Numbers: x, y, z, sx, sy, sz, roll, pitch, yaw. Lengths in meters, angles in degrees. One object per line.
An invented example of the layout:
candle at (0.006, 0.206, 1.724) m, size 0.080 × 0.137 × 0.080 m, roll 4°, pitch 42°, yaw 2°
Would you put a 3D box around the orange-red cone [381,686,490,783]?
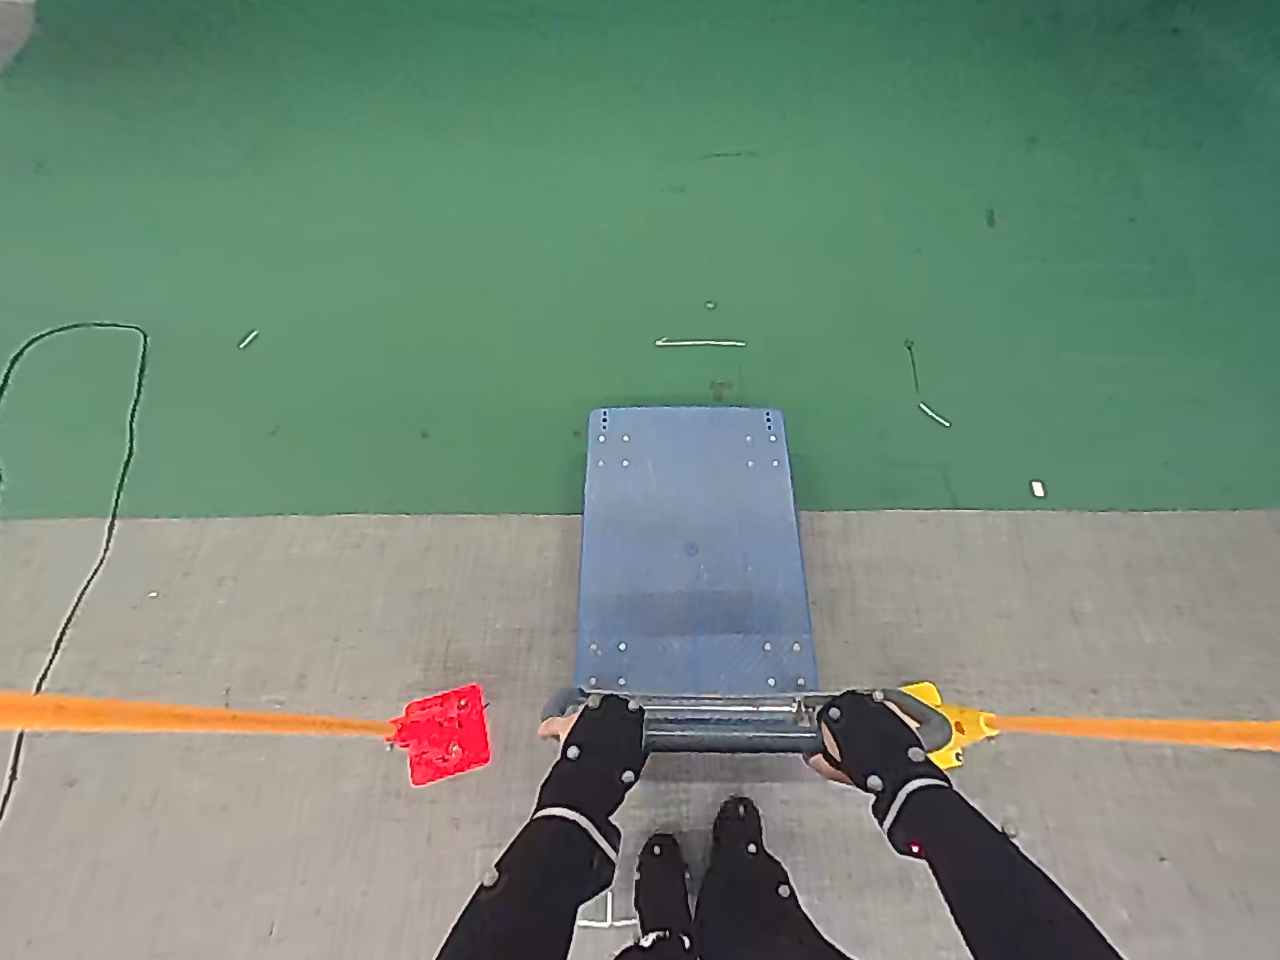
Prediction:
orange-red cone at (-0.491, 0.569, 1.221) m, size 0.199 × 0.360 × 0.198 m, roll -14°, pitch 65°, yaw -5°
